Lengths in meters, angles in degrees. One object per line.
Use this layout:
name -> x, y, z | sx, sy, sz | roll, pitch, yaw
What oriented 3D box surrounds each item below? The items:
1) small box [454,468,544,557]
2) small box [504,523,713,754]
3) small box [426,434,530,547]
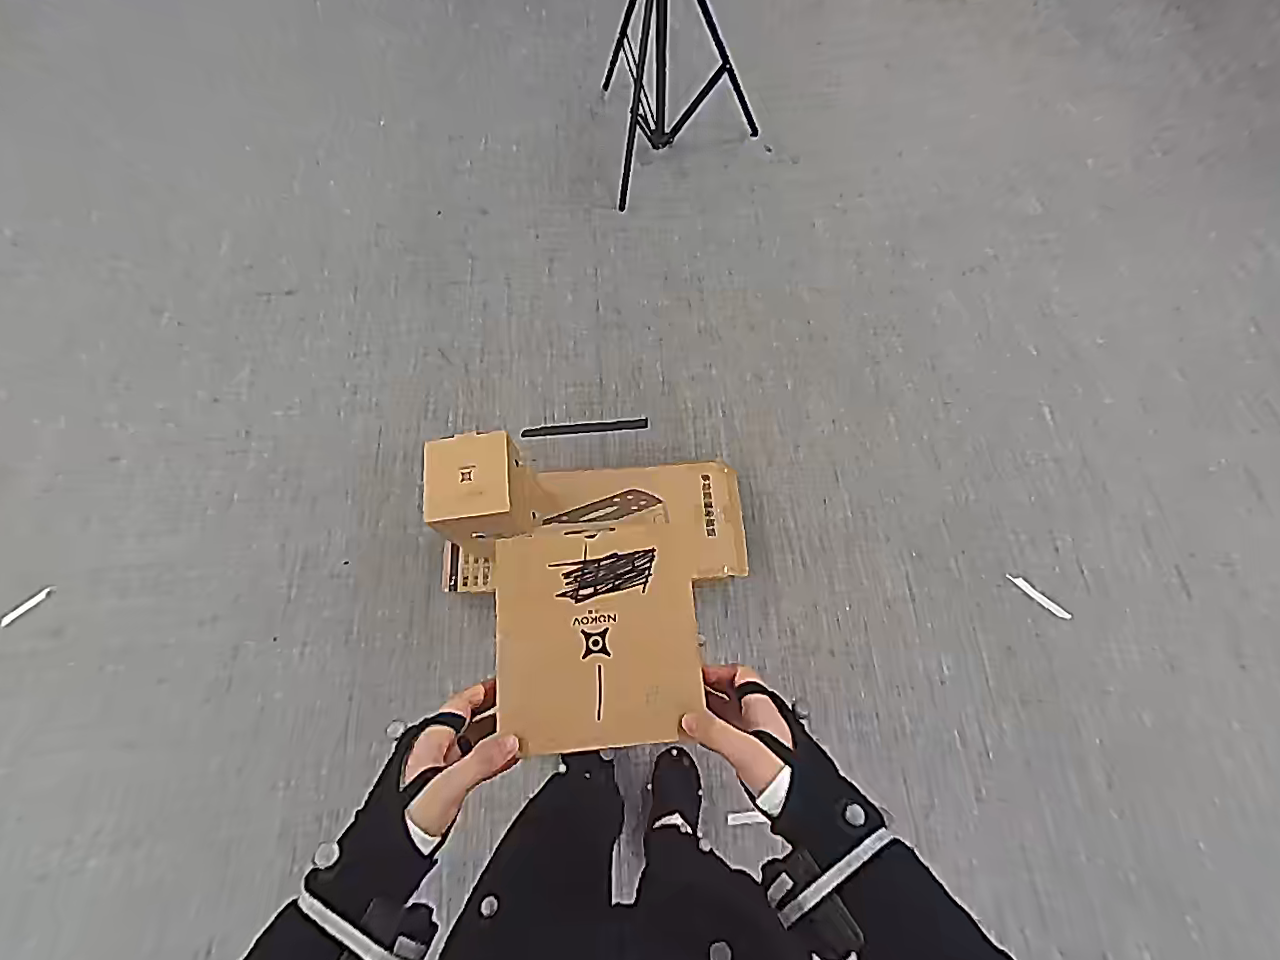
small box -> -0.323, 0.084, 1.270 | 0.168, 0.176, 0.179 | -2, 70, 0
small box -> -0.030, 0.154, 0.522 | 0.168, 0.176, 0.179 | -6, 69, -1
small box -> -0.330, 0.027, 1.117 | 0.168, 0.176, 0.179 | -8, 70, -2
